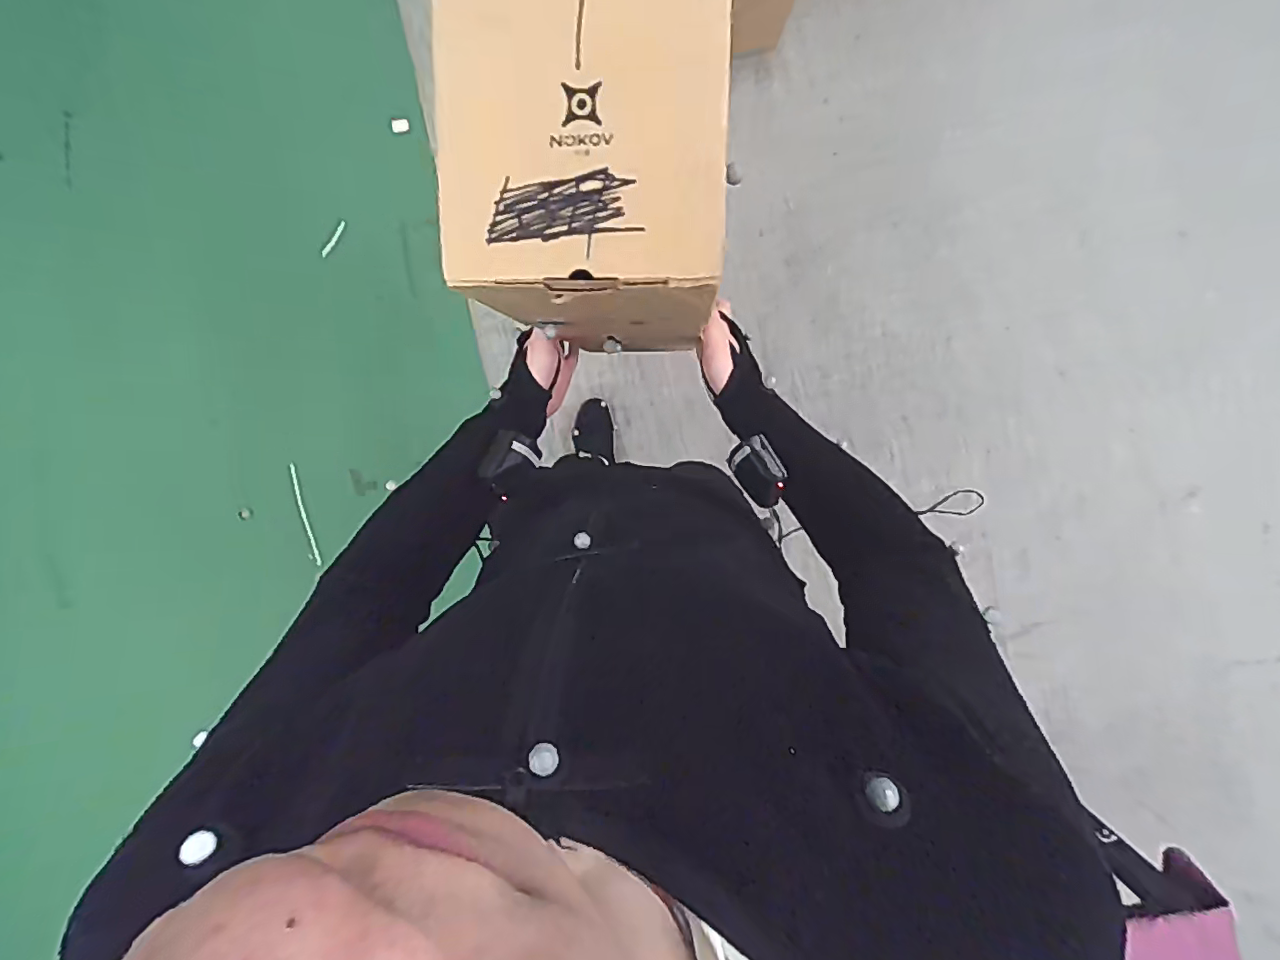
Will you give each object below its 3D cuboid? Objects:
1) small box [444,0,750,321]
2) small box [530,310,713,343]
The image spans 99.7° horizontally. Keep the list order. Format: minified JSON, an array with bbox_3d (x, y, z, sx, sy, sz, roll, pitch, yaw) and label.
[{"bbox_3d":[-0.020,-0.210,0.372,0.168,0.176,0.179,2,97,3],"label":"small box"},{"bbox_3d":[-0.012,-0.237,0.534,0.168,0.176,0.179,2,99,3],"label":"small box"}]
